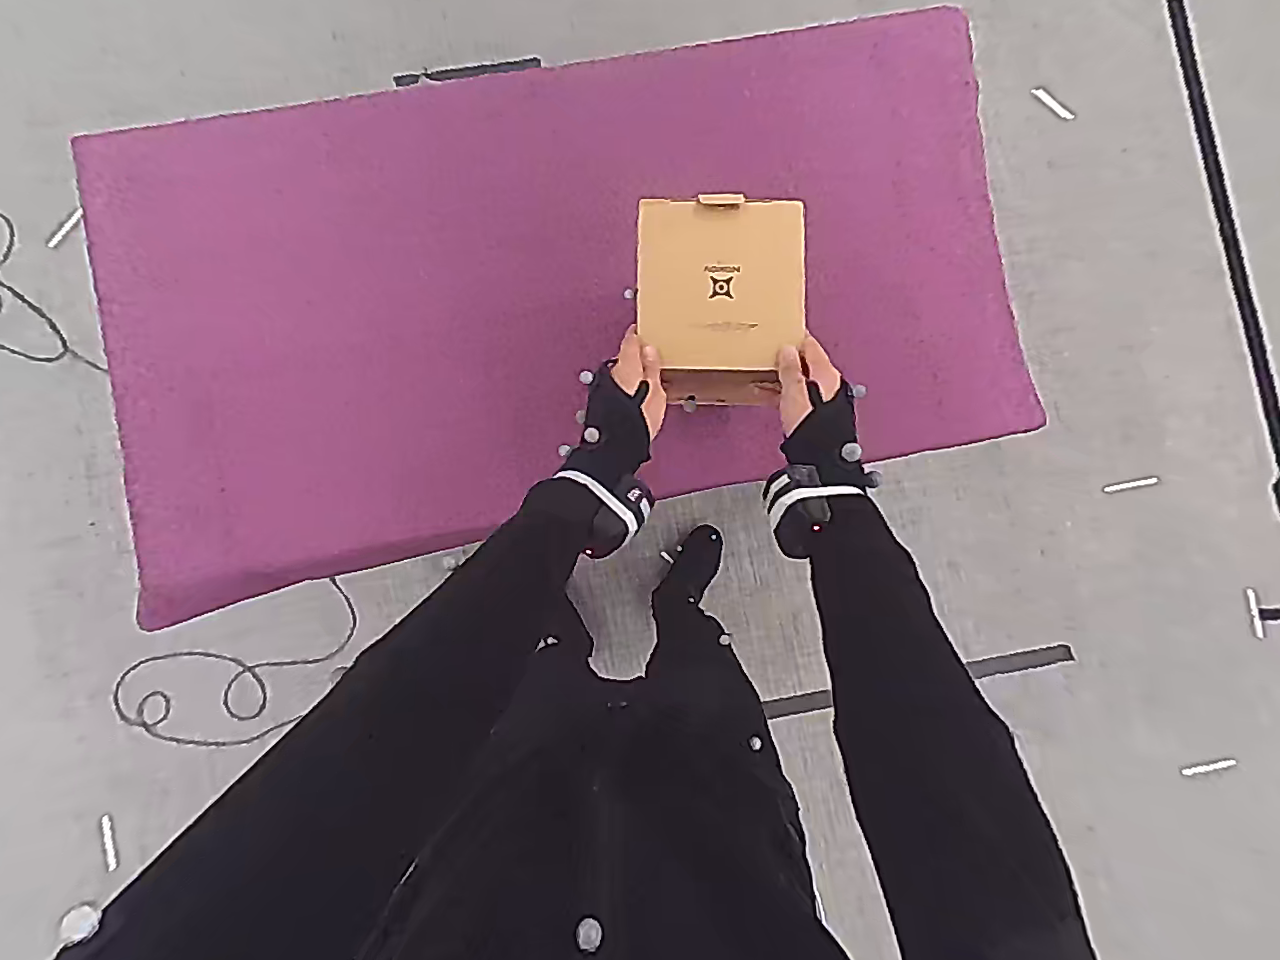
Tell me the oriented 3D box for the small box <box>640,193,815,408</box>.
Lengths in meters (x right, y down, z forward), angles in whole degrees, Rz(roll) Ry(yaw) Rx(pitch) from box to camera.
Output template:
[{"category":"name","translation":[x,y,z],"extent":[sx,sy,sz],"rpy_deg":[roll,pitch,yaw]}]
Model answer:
[{"category":"small box","translation":[0.086,-0.186,0.603],"extent":[0.168,0.176,0.179],"rpy_deg":[2,86,0]}]
